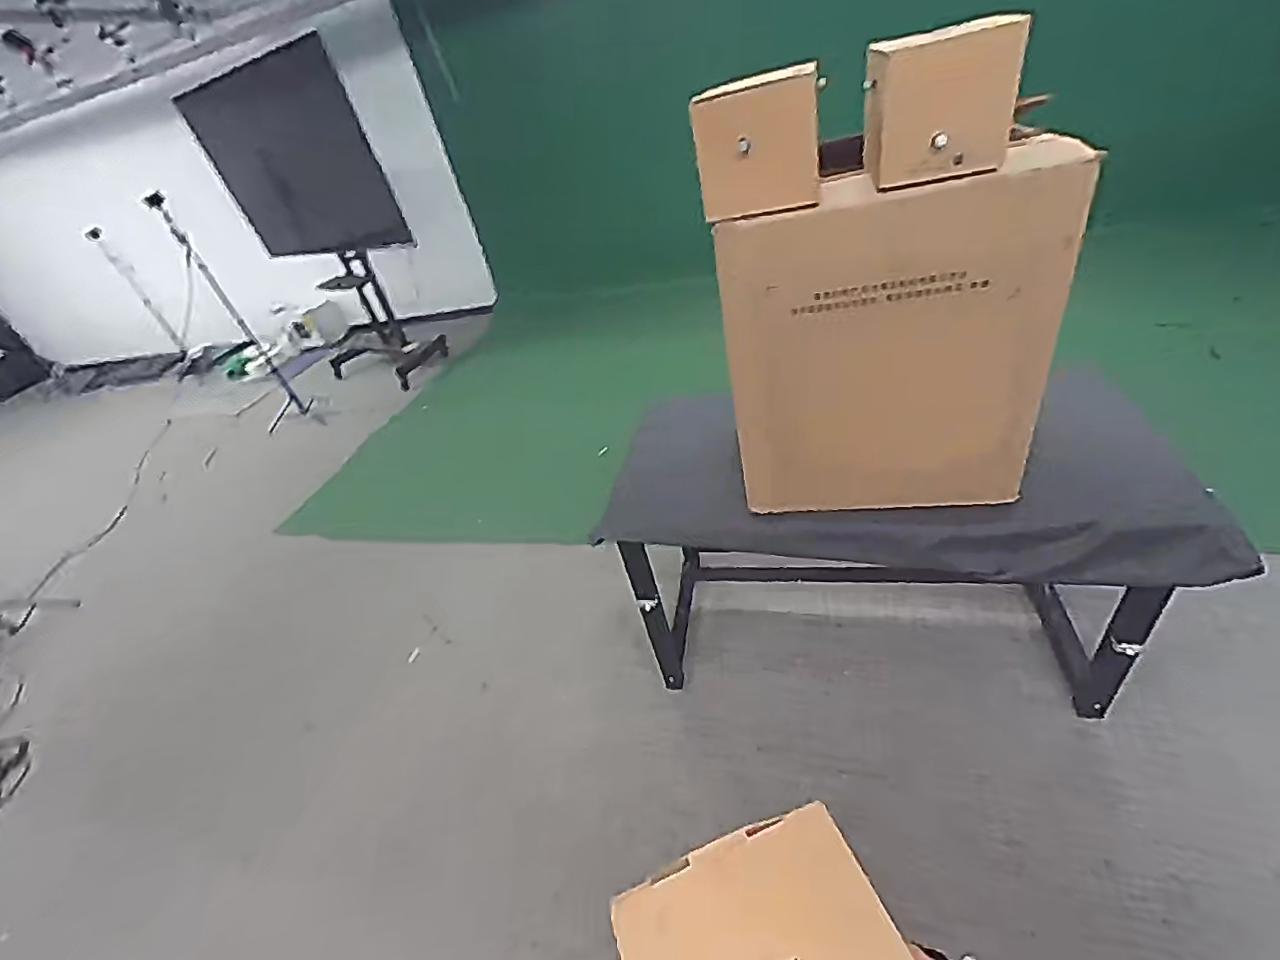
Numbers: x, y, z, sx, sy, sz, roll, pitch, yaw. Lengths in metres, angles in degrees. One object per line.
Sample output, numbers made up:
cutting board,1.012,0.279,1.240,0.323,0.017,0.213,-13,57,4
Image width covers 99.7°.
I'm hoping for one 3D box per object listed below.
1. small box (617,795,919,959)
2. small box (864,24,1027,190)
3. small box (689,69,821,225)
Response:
small box,0.093,0.361,0.367,0.168,0.176,0.179,-18,42,-11
small box,0.432,-0.547,0.800,0.168,0.176,0.179,-3,39,16
small box,0.192,-0.526,0.864,0.179,0.176,0.168,-2,39,20
